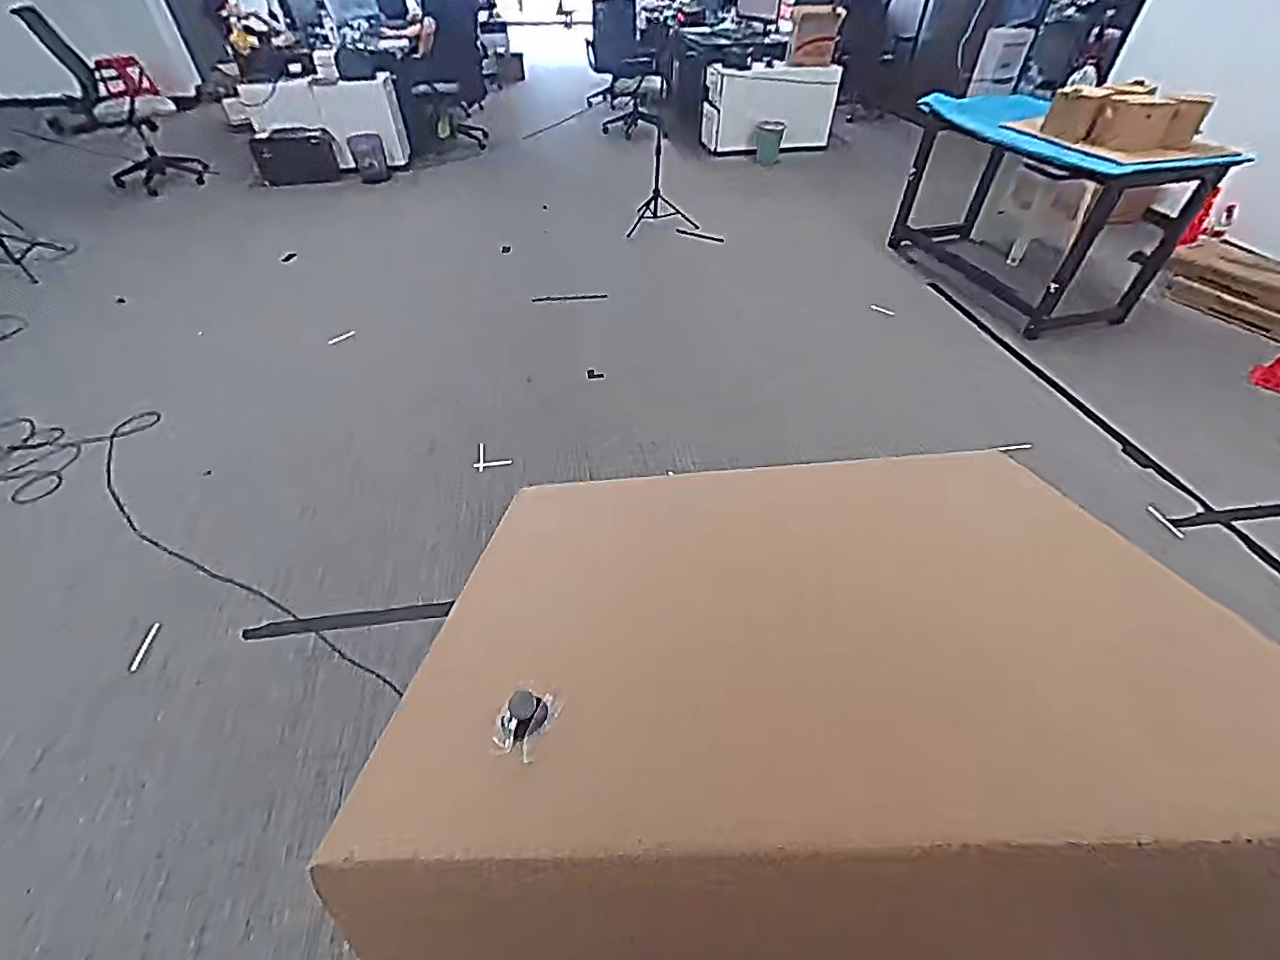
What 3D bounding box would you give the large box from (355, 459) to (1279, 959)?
[{"bbox_3d":[0.104,0.195,0.392,0.408,0.320,0.320,-5,26,6],"label":"large box"}]
